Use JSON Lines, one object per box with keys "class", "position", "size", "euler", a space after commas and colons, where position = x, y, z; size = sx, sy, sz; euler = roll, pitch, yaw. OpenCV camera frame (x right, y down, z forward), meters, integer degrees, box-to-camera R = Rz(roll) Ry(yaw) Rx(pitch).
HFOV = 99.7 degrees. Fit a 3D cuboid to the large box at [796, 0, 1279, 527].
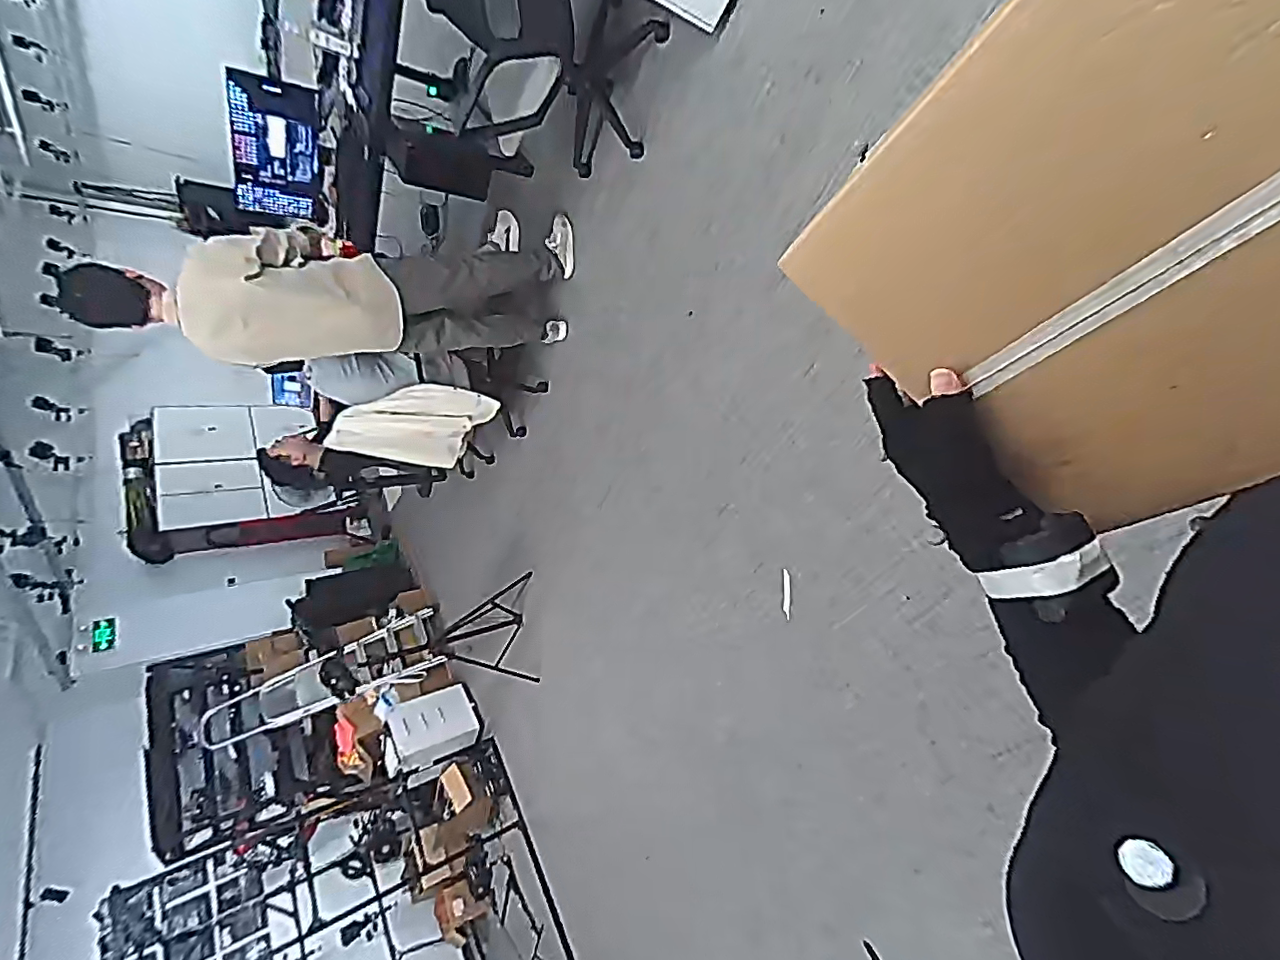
{"class": "large box", "position": [0.386, -0.238, 0.361], "size": [0.320, 0.320, 0.408], "euler": [41, 140, -5]}
